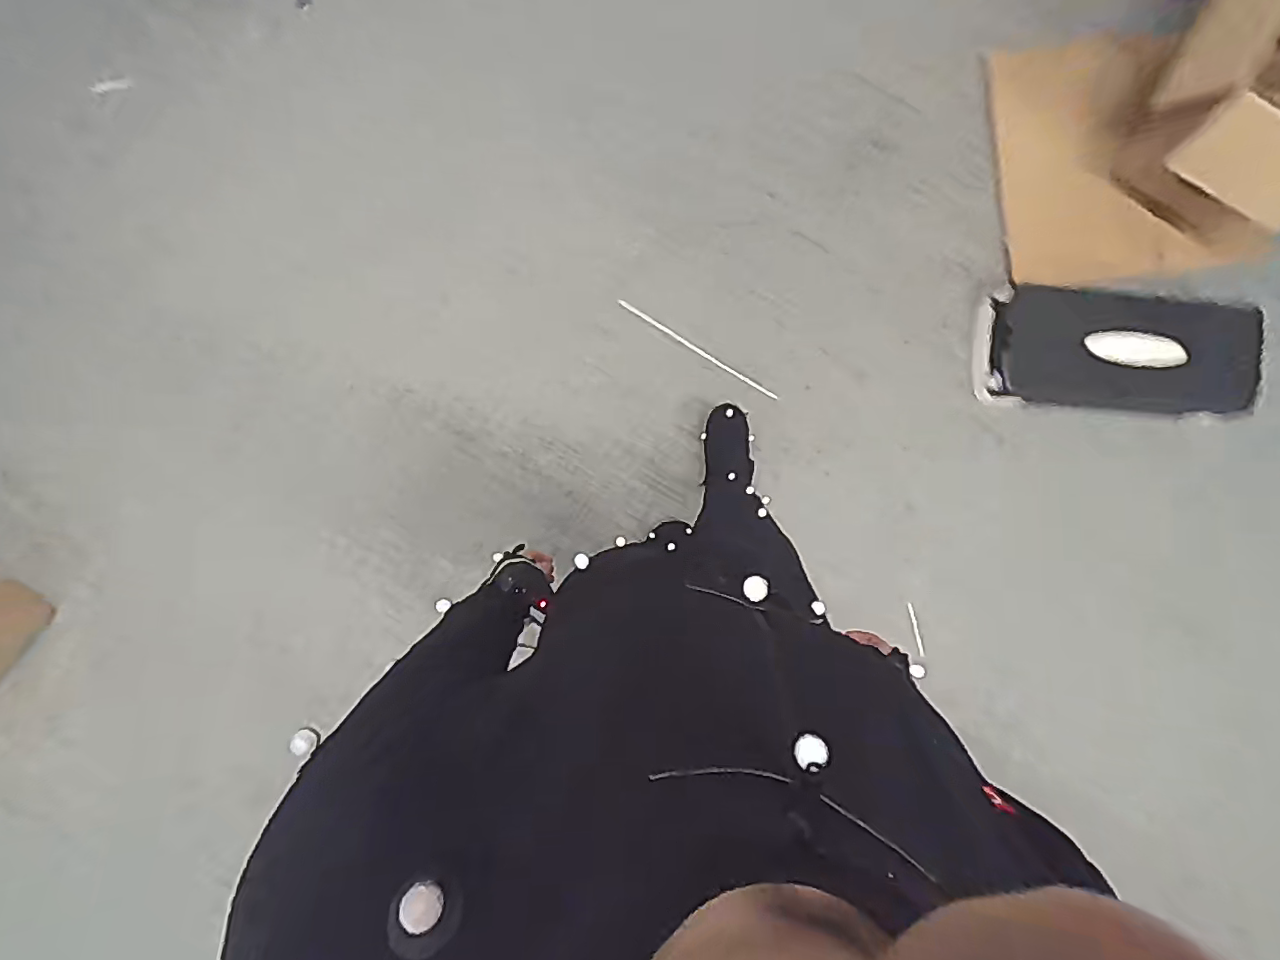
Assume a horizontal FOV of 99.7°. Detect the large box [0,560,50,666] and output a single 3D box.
[{"bbox_3d":[-1.654,0.356,1.151,0.320,0.320,0.408,39,87,-2],"label":"large box"}]
